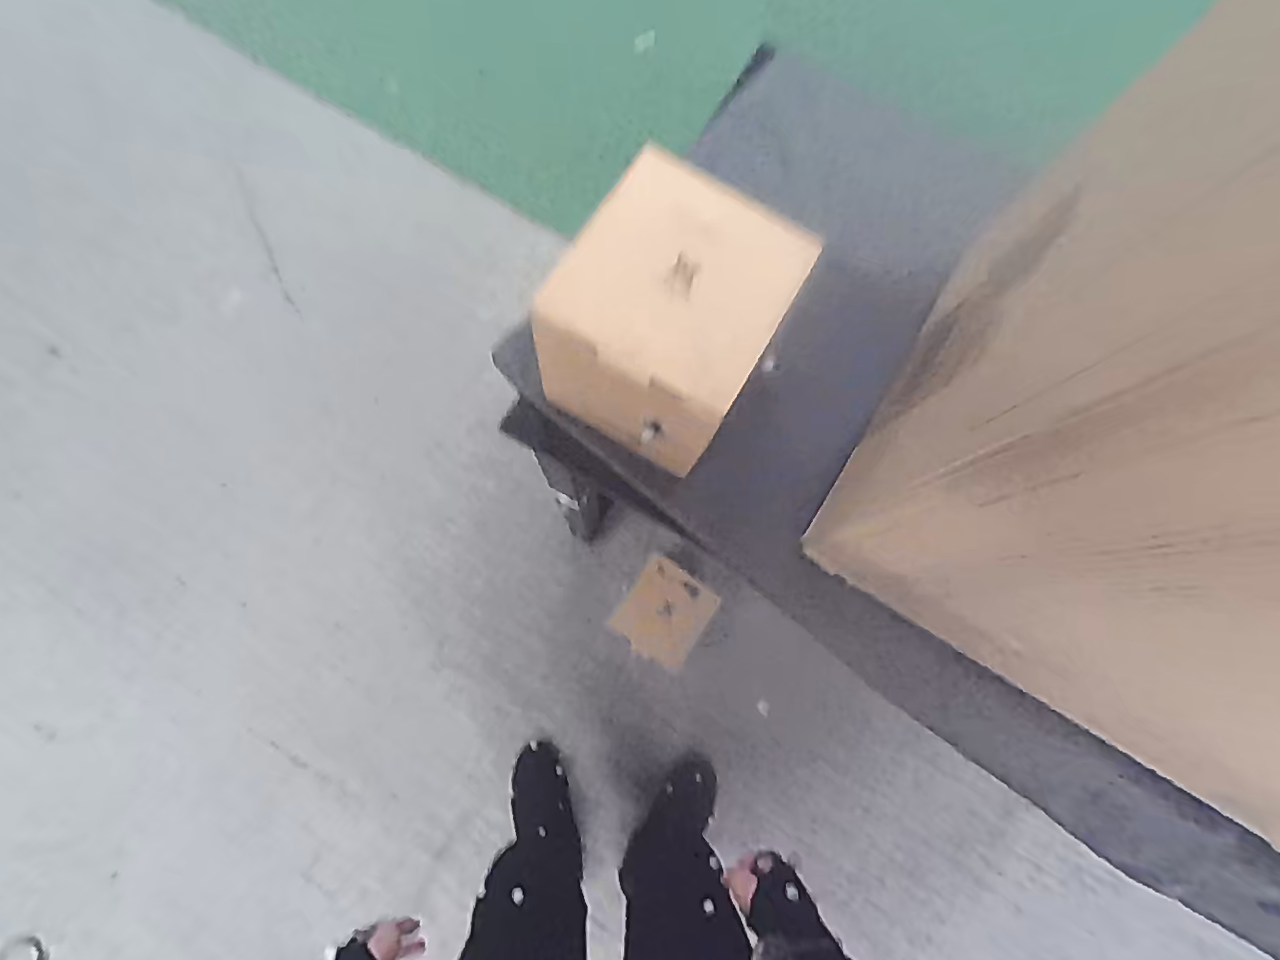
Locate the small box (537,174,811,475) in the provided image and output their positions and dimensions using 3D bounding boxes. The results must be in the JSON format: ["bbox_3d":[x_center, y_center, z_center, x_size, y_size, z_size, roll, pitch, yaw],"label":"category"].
[{"bbox_3d":[0.025,-0.128,0.506,0.168,0.176,0.179,29,72,2],"label":"small box"}]
